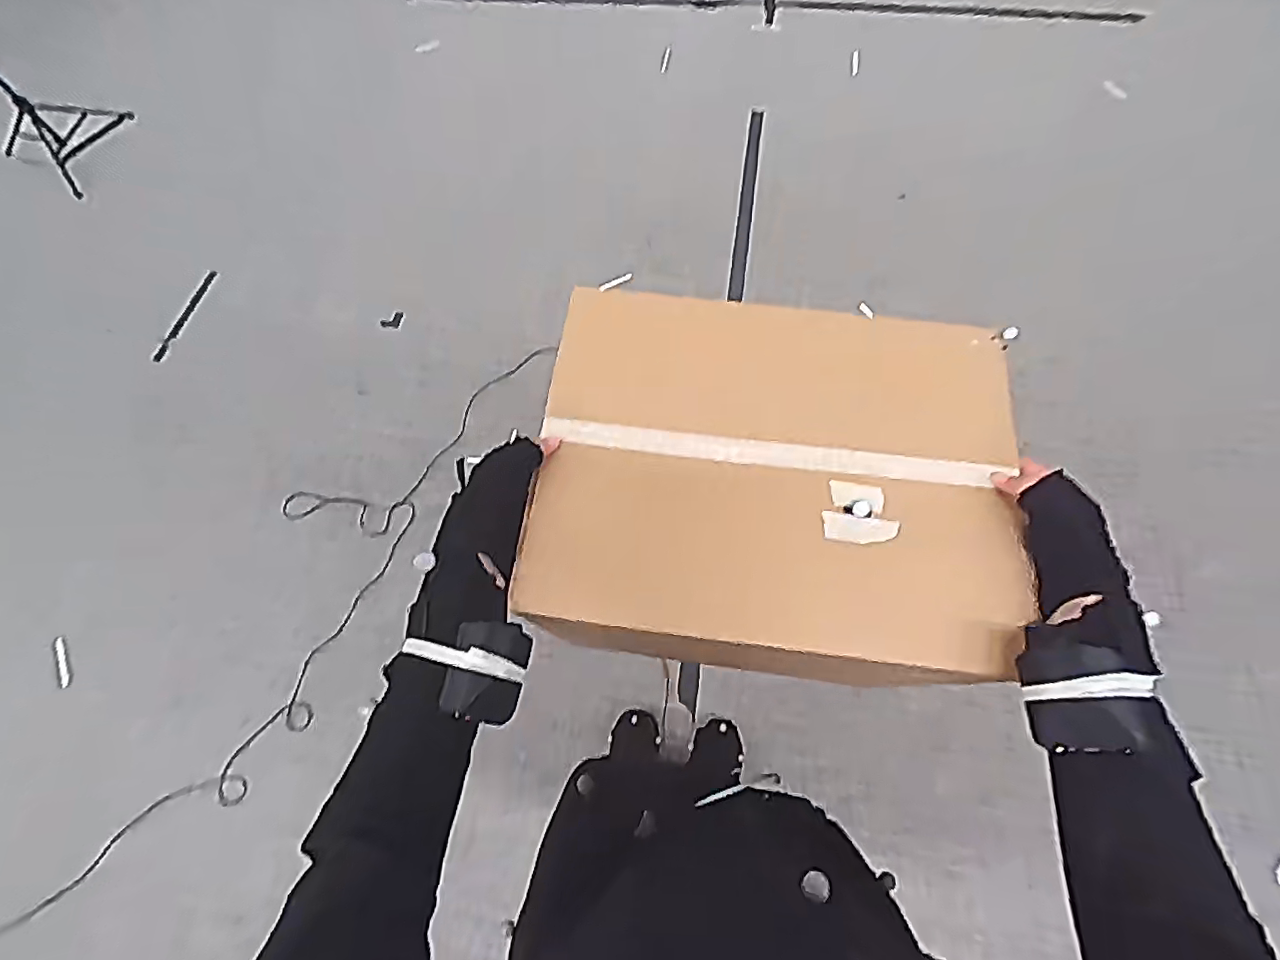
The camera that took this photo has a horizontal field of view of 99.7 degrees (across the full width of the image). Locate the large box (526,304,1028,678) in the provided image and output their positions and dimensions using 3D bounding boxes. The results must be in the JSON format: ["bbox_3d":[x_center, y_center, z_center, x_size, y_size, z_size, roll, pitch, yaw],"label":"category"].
[{"bbox_3d":[0.117,0.038,0.614,0.408,0.320,0.320,7,70,2],"label":"large box"}]
